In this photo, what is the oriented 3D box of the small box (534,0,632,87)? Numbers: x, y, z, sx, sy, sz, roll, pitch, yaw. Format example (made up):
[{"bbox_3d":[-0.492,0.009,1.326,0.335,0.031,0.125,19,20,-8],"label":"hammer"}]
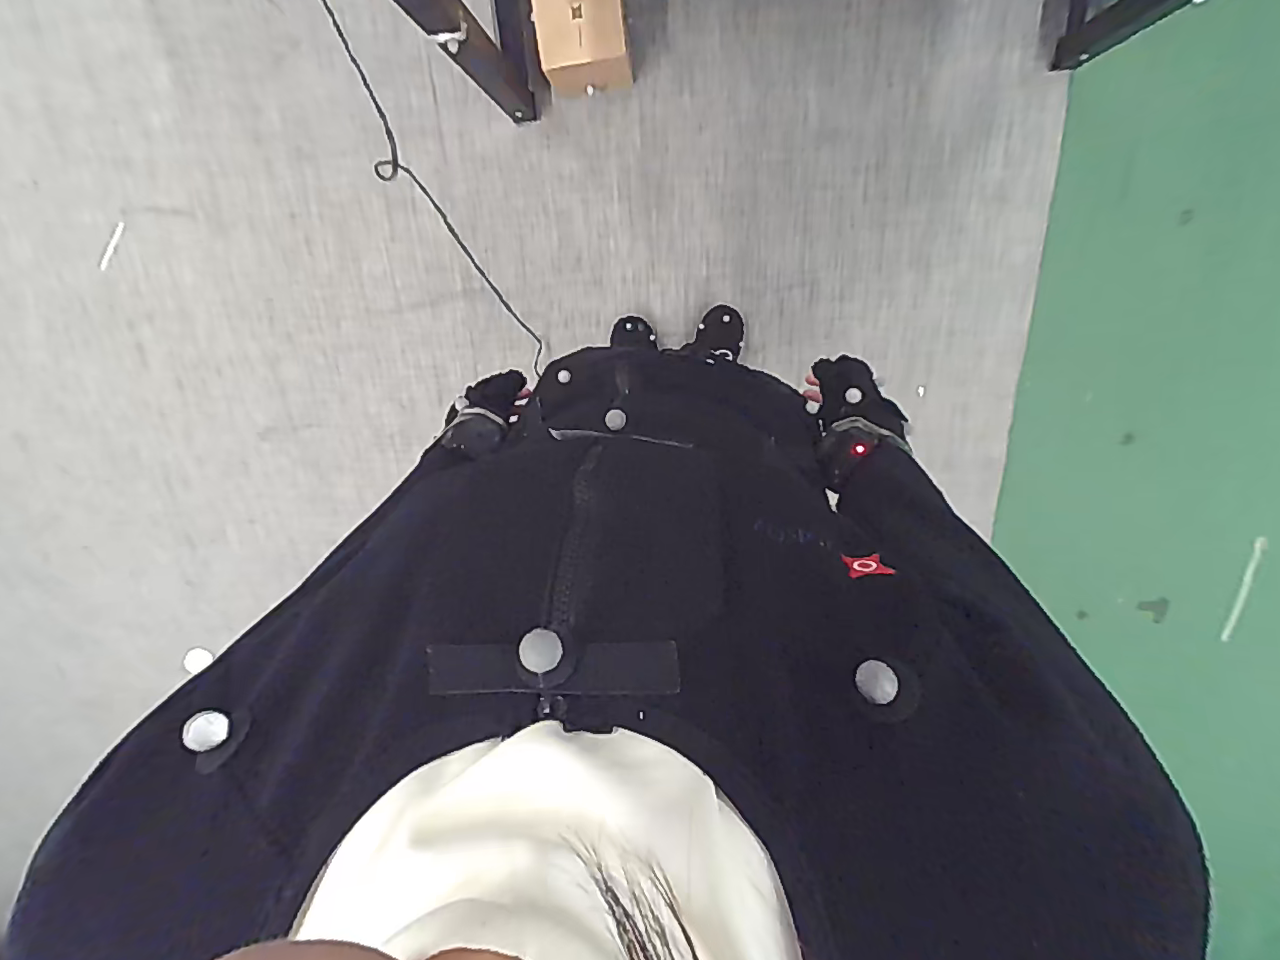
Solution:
[{"bbox_3d":[-0.109,-0.912,1.061,0.168,0.176,0.179,-5,110,6],"label":"small box"}]
